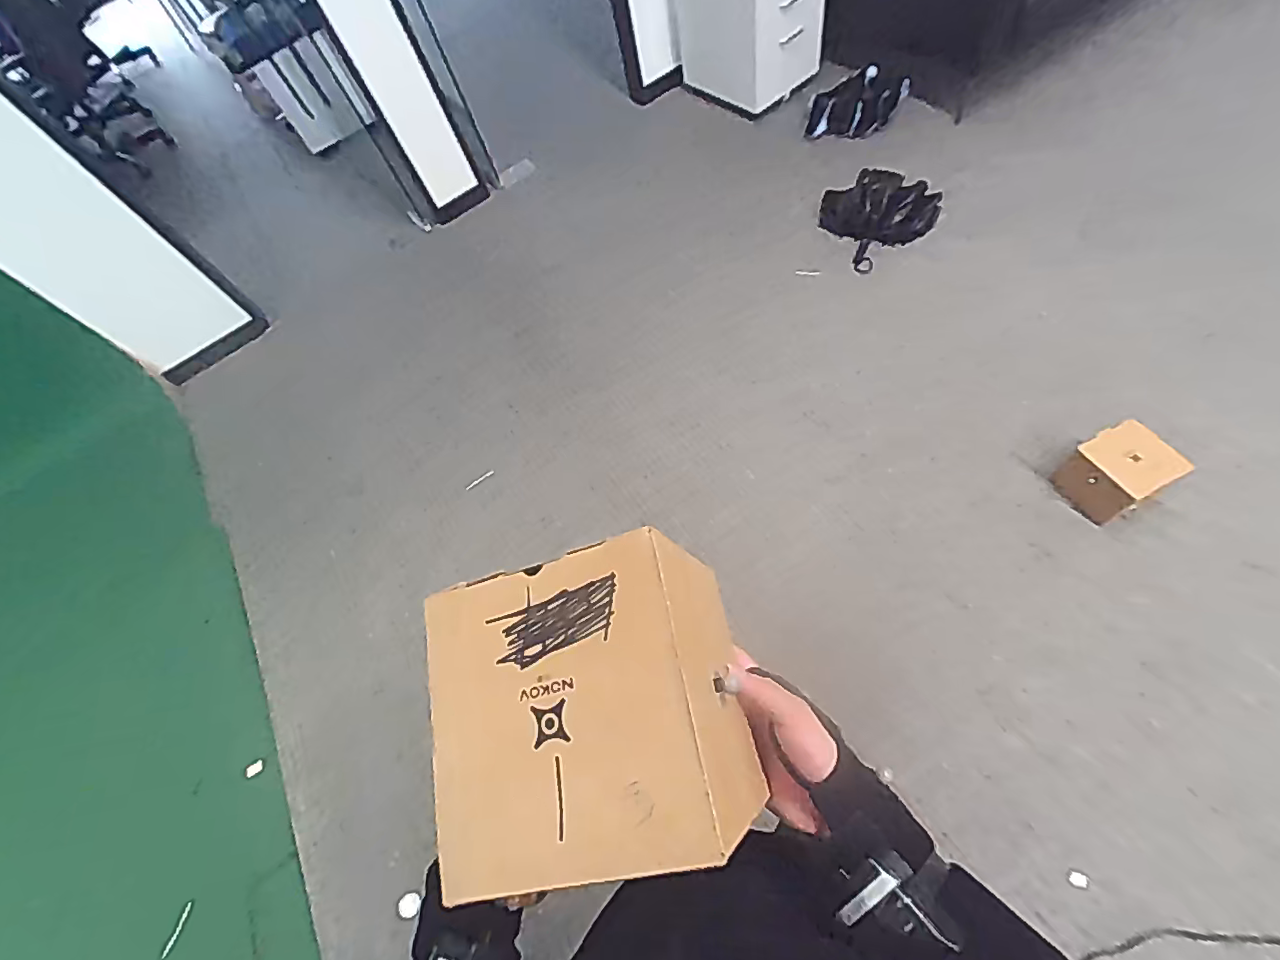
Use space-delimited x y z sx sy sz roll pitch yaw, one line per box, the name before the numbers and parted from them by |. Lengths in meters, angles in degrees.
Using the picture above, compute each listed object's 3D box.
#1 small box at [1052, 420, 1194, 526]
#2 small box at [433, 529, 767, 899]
small box | 1.210 -0.012 1.374 0.168 0.176 0.179 -29 60 -2
small box | -0.021 0.155 0.381 0.168 0.176 0.179 -19 66 15
